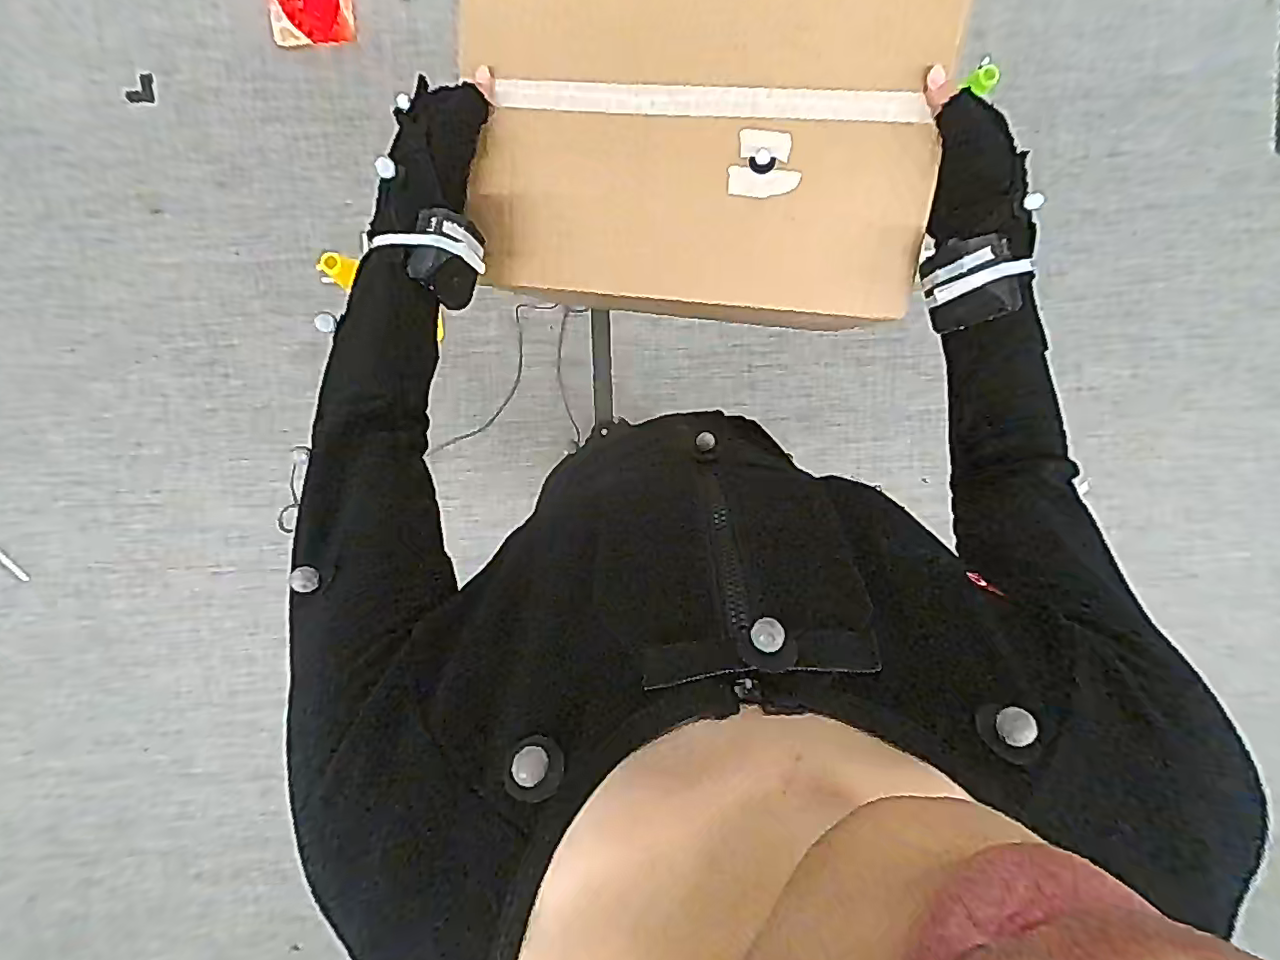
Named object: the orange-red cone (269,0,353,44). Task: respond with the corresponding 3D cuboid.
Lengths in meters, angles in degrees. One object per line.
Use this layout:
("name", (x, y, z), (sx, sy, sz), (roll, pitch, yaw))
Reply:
("orange-red cone", (-0.810, -1.162, 1.160), (0.198, 0.360, 0.199), (-5, 97, -1))

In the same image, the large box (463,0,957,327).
("large box", (0.060, -0.351, 0.598), (0.408, 0.320, 0.320), (7, 104, 6))
